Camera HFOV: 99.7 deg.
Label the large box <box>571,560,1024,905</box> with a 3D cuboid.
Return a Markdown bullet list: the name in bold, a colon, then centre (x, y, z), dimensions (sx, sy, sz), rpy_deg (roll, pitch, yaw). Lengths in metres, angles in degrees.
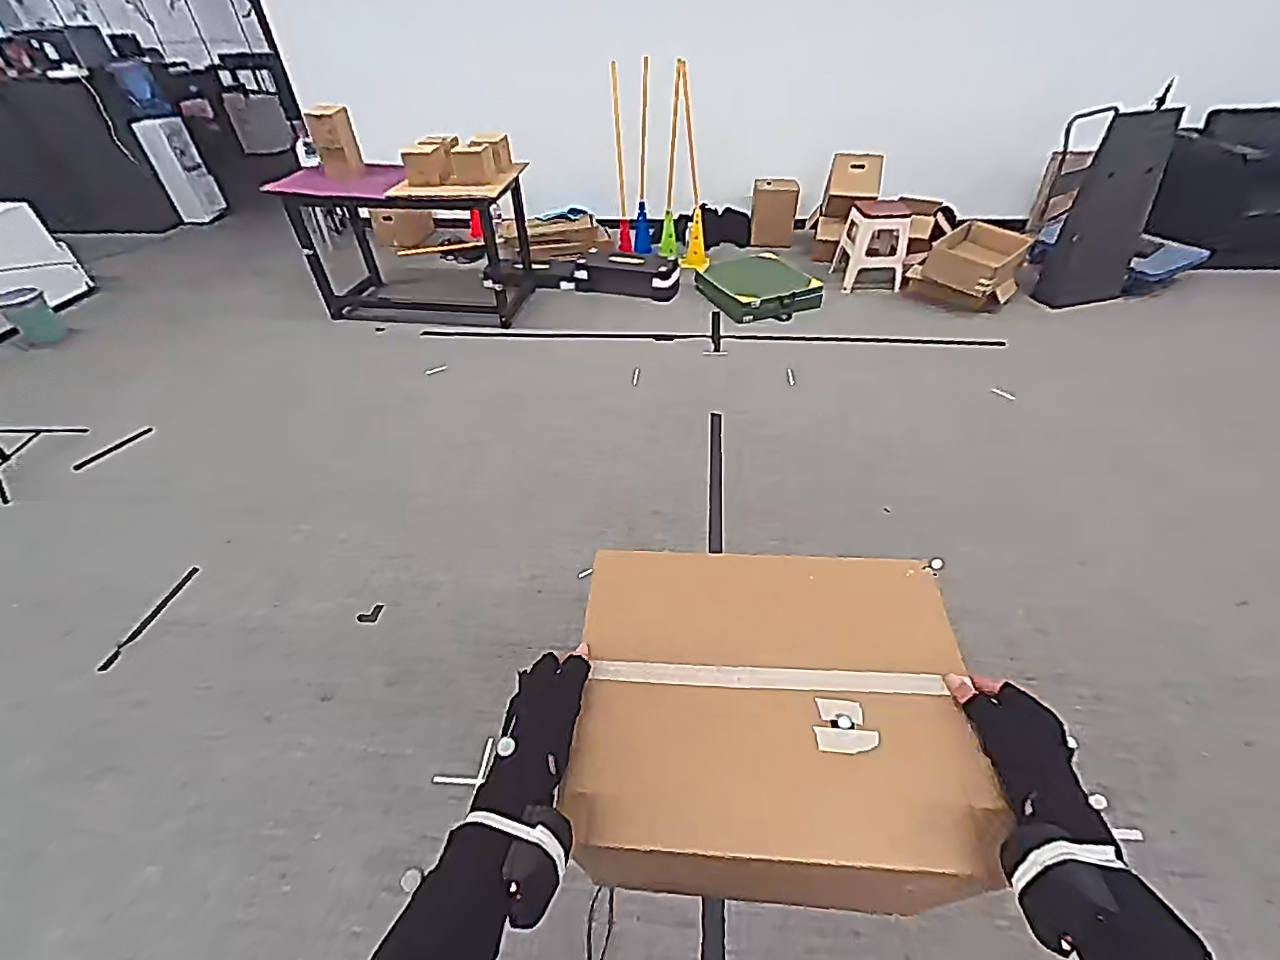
- **large box**: centre (0.147, 0.317, 0.683), dimensions (0.408, 0.320, 0.320), rpy_deg (1, 47, 5)
